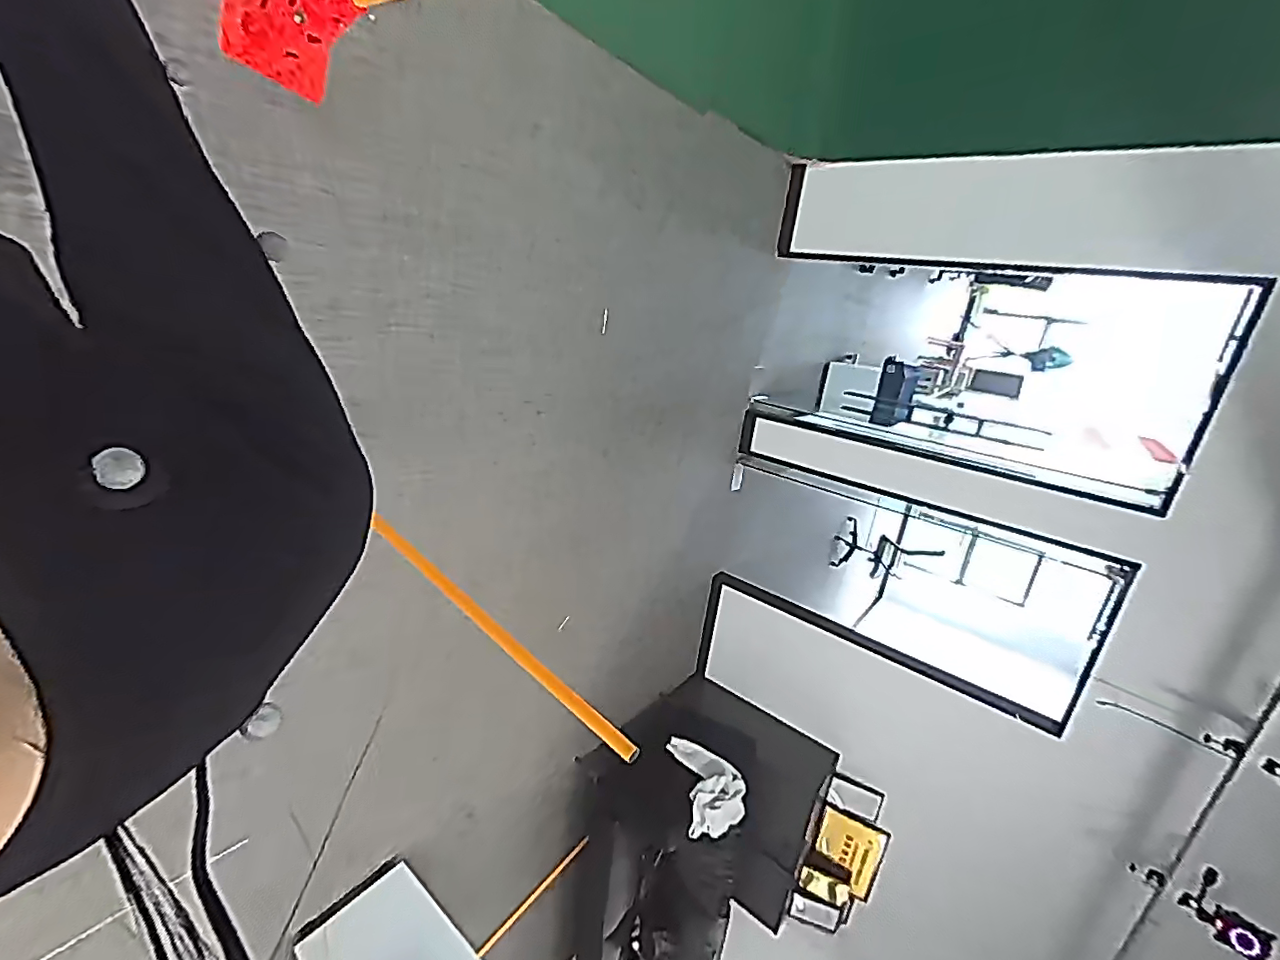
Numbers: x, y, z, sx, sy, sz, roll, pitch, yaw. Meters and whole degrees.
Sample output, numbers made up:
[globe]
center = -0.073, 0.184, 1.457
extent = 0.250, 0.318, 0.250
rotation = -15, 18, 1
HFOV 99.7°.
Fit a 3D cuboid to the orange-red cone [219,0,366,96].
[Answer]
[orange-red cone]
center = -0.639, -0.919, 1.060
extent = 0.198, 0.360, 0.199
rotation = 3, 105, -54
